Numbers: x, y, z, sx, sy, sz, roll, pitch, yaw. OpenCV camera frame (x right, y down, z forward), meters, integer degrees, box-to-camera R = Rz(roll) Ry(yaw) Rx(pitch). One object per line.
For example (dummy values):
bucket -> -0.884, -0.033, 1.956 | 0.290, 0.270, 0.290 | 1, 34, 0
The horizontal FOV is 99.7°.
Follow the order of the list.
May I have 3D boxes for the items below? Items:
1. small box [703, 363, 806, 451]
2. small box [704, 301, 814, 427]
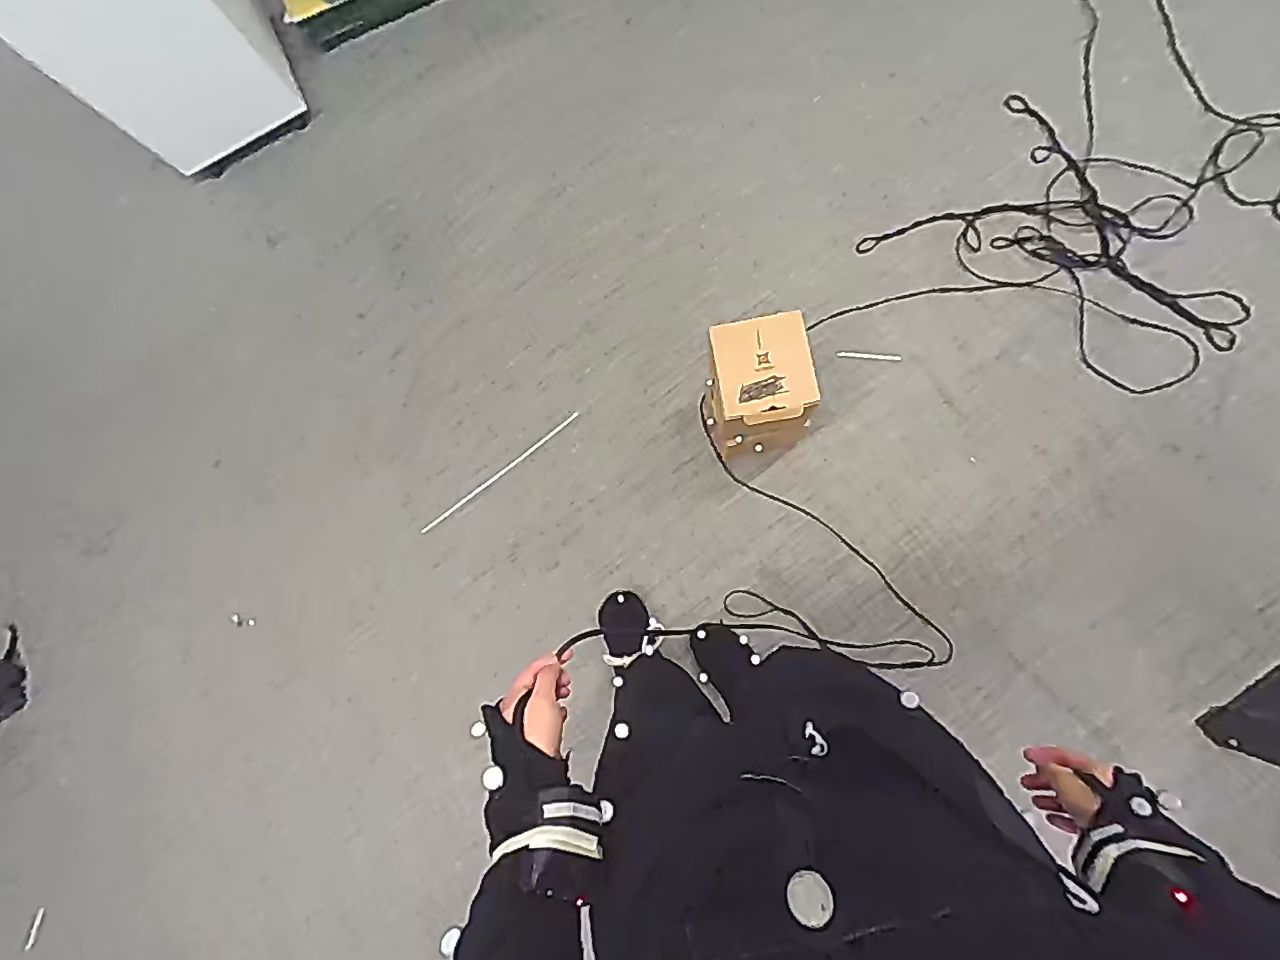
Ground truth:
small box -> 0.241, -0.173, 1.177 | 0.179, 0.176, 0.168 | -15, 80, 4
small box -> 0.216, -0.206, 1.017 | 0.168, 0.176, 0.179 | -9, 80, 5
